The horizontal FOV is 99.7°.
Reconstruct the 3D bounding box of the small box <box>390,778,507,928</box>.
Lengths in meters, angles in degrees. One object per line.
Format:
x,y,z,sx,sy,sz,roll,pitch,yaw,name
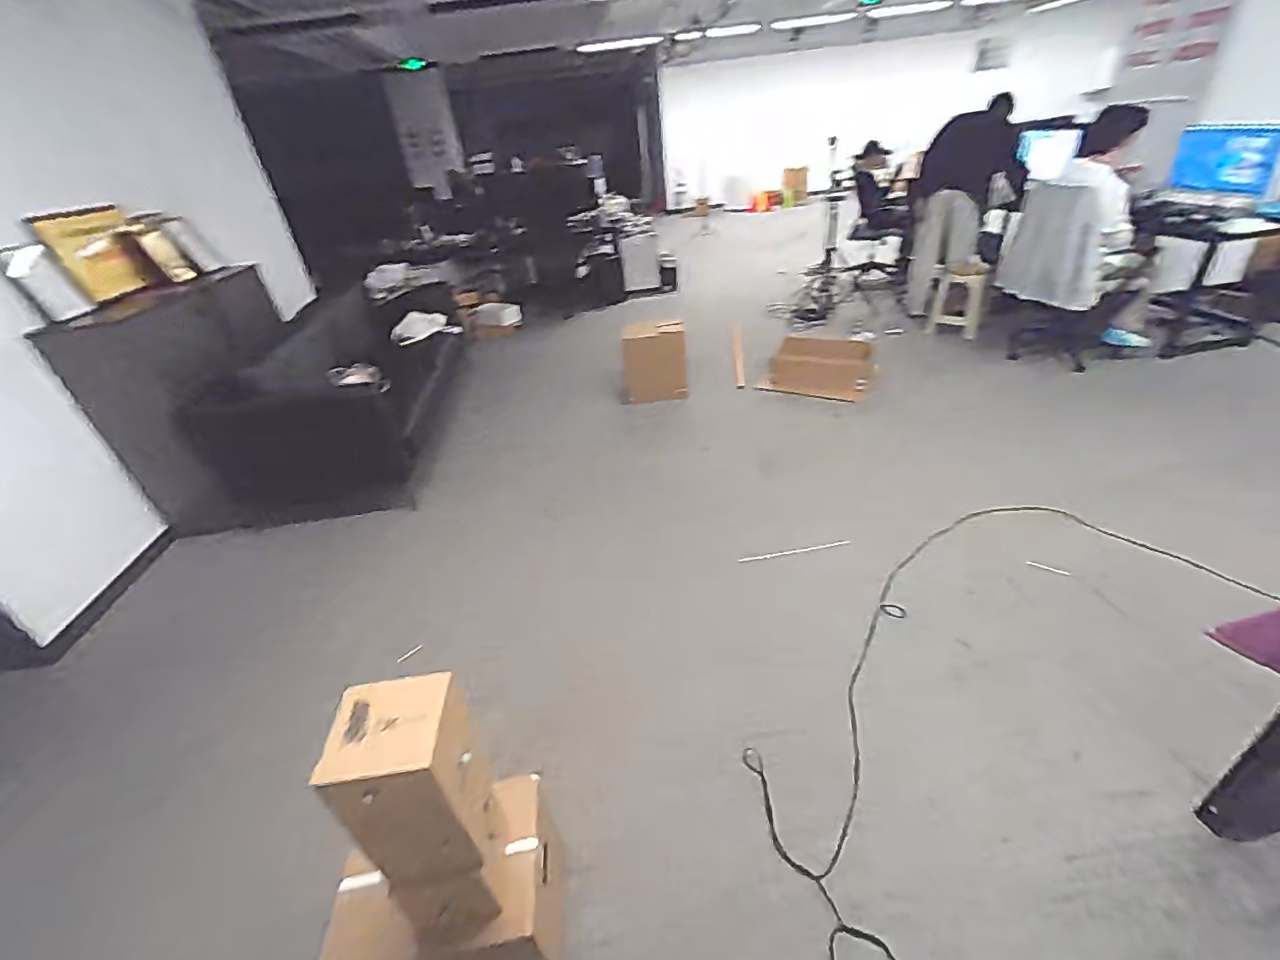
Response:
-0.362,0.727,1.059,0.168,0.176,0.179,-10,34,-5,small box

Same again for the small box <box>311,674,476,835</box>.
-0.386,0.449,0.884,0.179,0.176,0.168,-7,34,-3,small box
